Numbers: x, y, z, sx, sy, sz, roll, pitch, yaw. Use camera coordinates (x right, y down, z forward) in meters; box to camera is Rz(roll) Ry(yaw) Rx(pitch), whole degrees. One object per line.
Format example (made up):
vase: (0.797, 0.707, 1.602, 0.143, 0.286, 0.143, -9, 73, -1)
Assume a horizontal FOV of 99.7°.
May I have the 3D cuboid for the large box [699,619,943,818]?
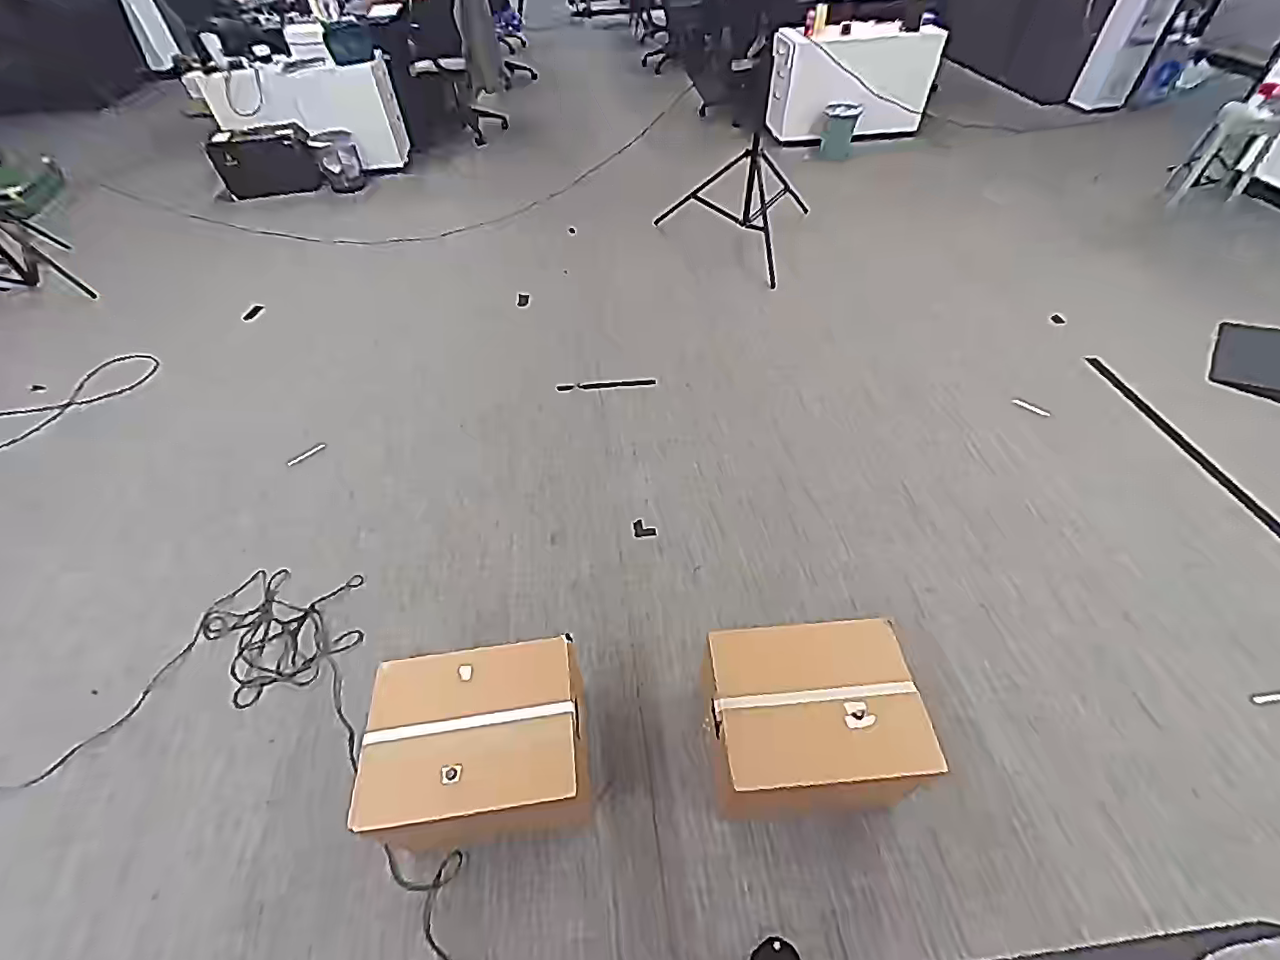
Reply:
large box: (0.362, 0.536, 1.213, 0.408, 0.320, 0.320, -3, 50, -2)
